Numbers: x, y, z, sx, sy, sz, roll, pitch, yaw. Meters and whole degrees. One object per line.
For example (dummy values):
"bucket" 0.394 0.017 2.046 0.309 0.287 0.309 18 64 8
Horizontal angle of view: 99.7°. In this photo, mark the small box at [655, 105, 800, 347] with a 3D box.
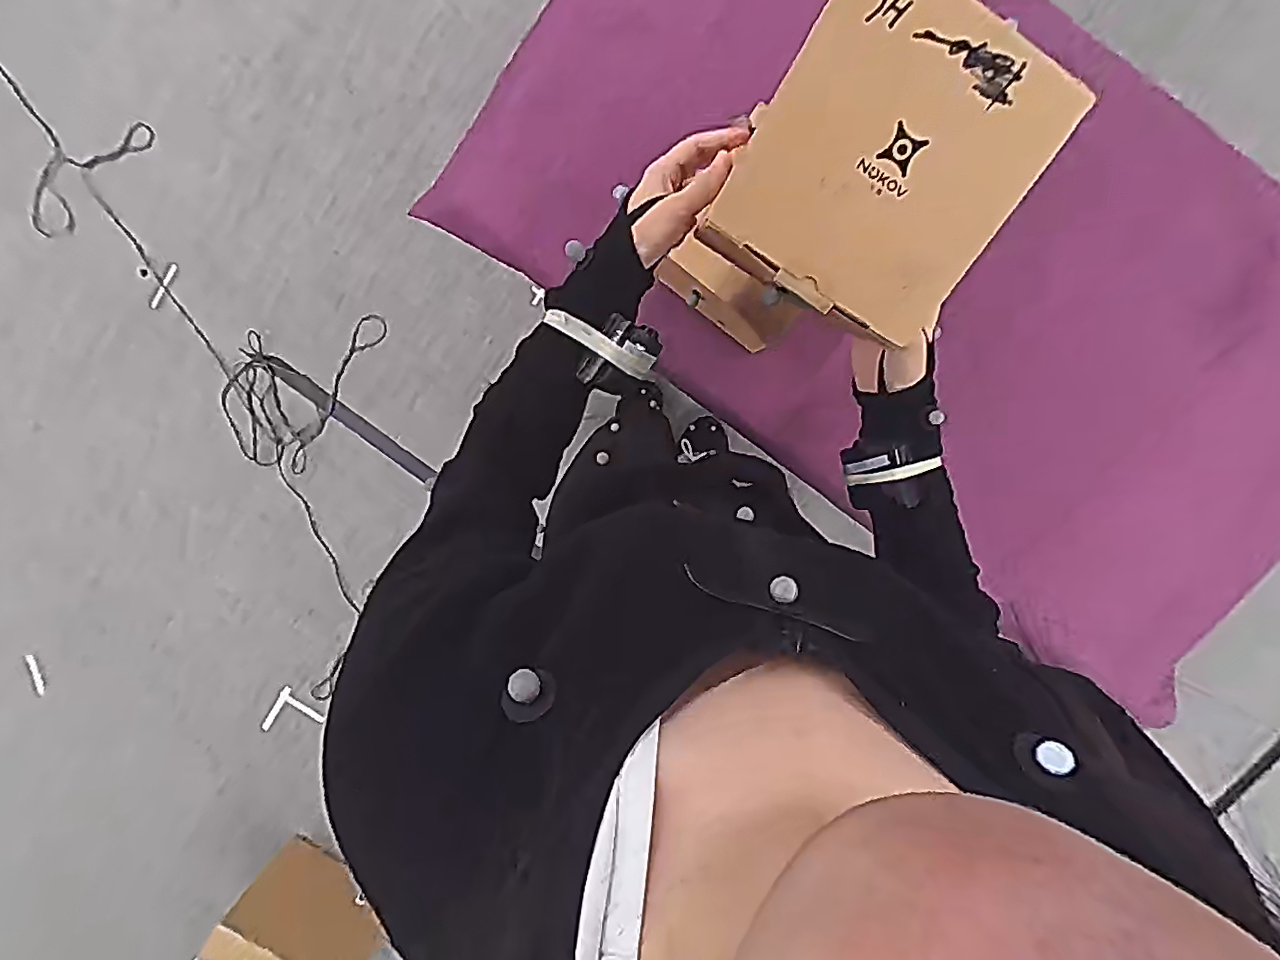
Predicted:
"small box" 0.136 -0.278 0.644 0.168 0.176 0.179 37 98 -3

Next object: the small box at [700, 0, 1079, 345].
"small box" 0.160 -0.231 0.418 0.168 0.176 0.179 30 109 -9
